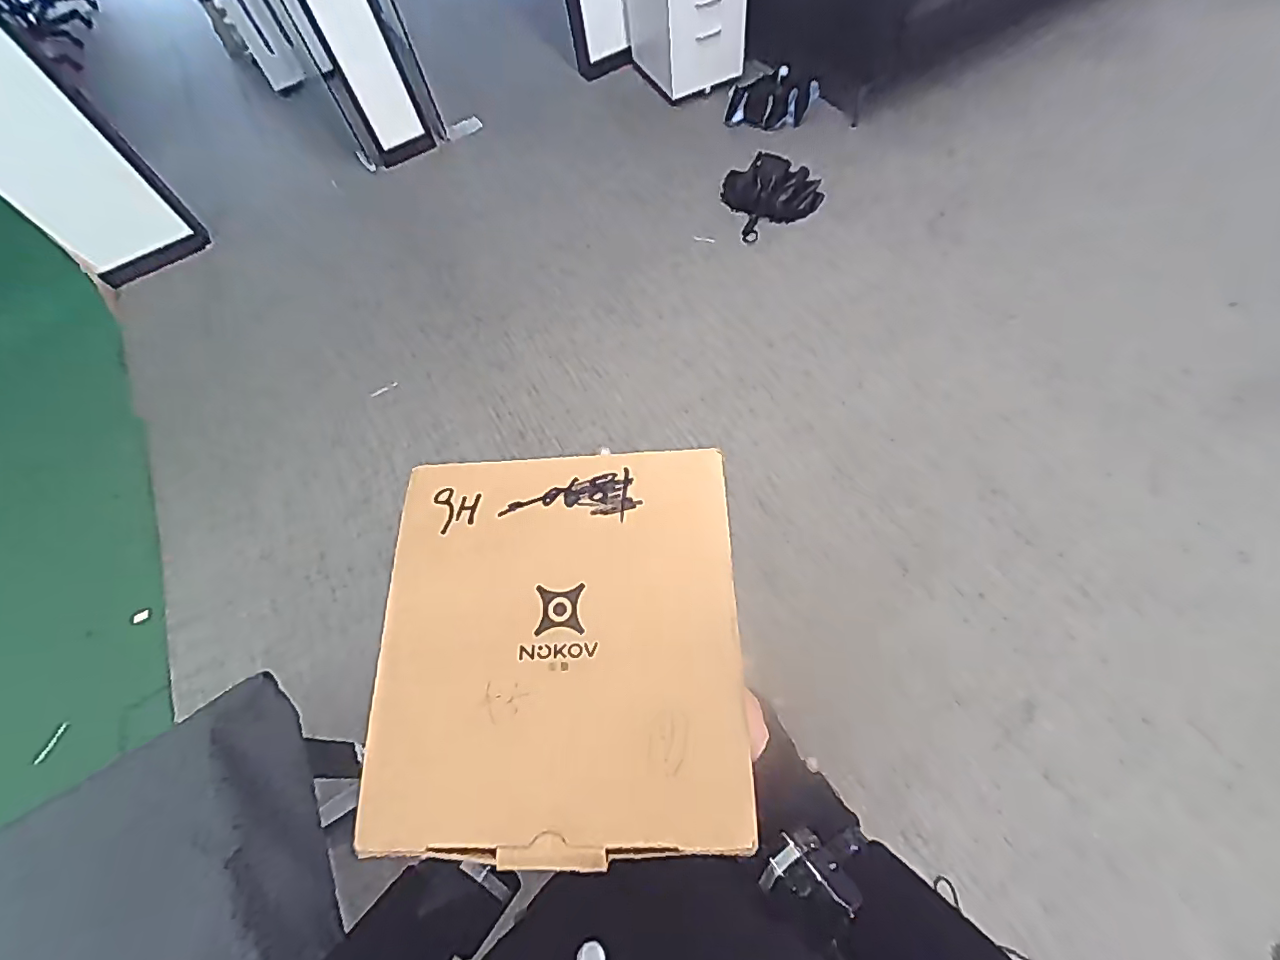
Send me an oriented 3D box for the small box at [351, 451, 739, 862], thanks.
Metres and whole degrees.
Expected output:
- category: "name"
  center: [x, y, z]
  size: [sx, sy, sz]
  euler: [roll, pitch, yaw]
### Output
- category: "small box"
  center: [-0.034, 0.098, 0.320]
  size: [0.168, 0.176, 0.179]
  euler: [-3, 69, 4]
